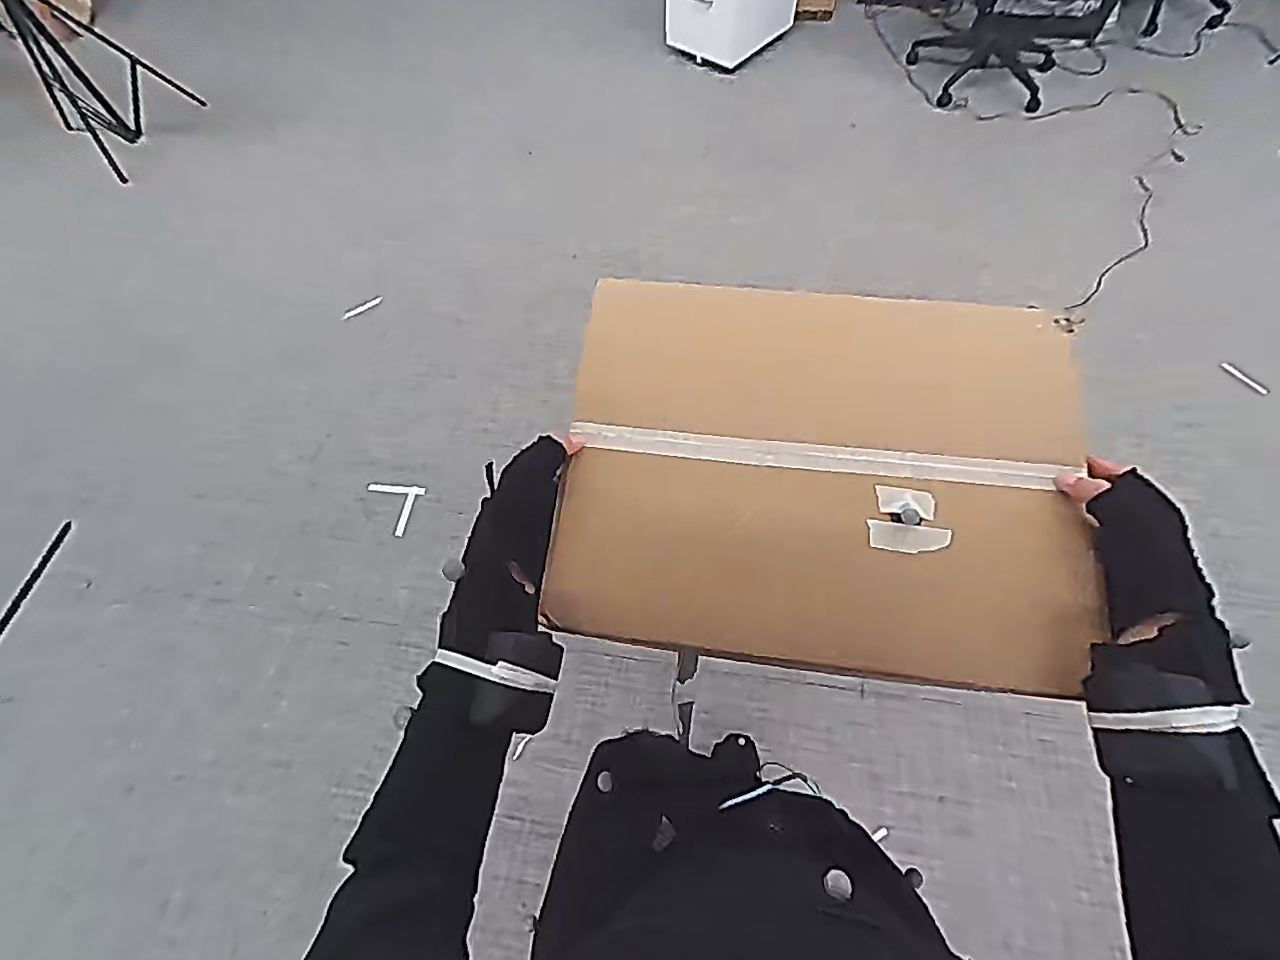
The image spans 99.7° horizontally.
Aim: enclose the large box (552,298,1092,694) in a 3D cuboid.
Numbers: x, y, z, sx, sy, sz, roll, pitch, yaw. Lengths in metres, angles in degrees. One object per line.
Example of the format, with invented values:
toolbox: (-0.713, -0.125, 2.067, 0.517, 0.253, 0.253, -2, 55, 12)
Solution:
large box: (0.149, 0.037, 0.585, 0.408, 0.320, 0.320, 6, 73, 5)
